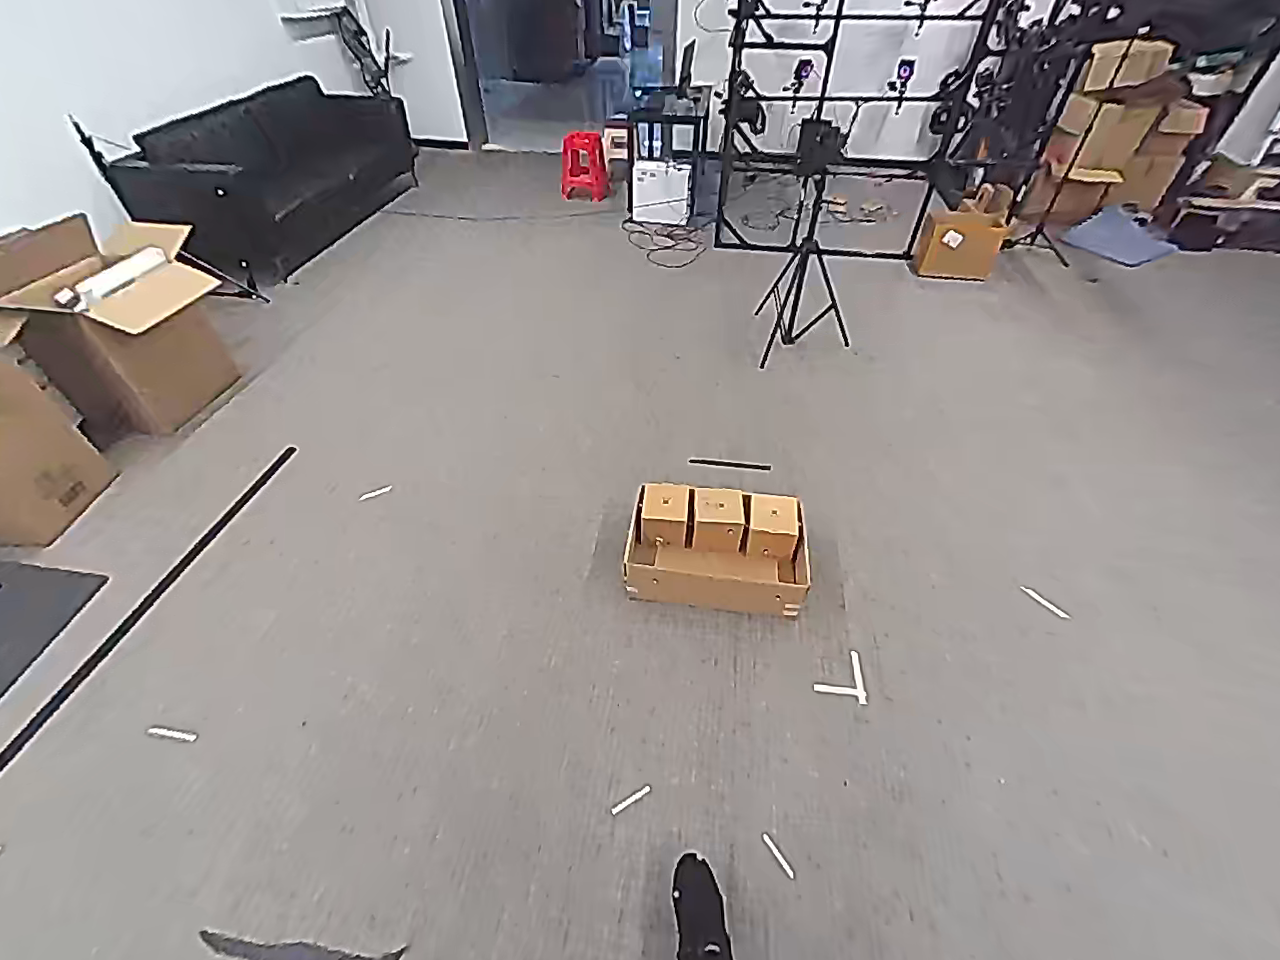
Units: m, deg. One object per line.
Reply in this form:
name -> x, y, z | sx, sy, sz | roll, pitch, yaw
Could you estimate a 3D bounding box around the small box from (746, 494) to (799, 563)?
small box -> 0.482, 0.178, 1.980 | 0.168, 0.176, 0.179 | 6, 48, 7
